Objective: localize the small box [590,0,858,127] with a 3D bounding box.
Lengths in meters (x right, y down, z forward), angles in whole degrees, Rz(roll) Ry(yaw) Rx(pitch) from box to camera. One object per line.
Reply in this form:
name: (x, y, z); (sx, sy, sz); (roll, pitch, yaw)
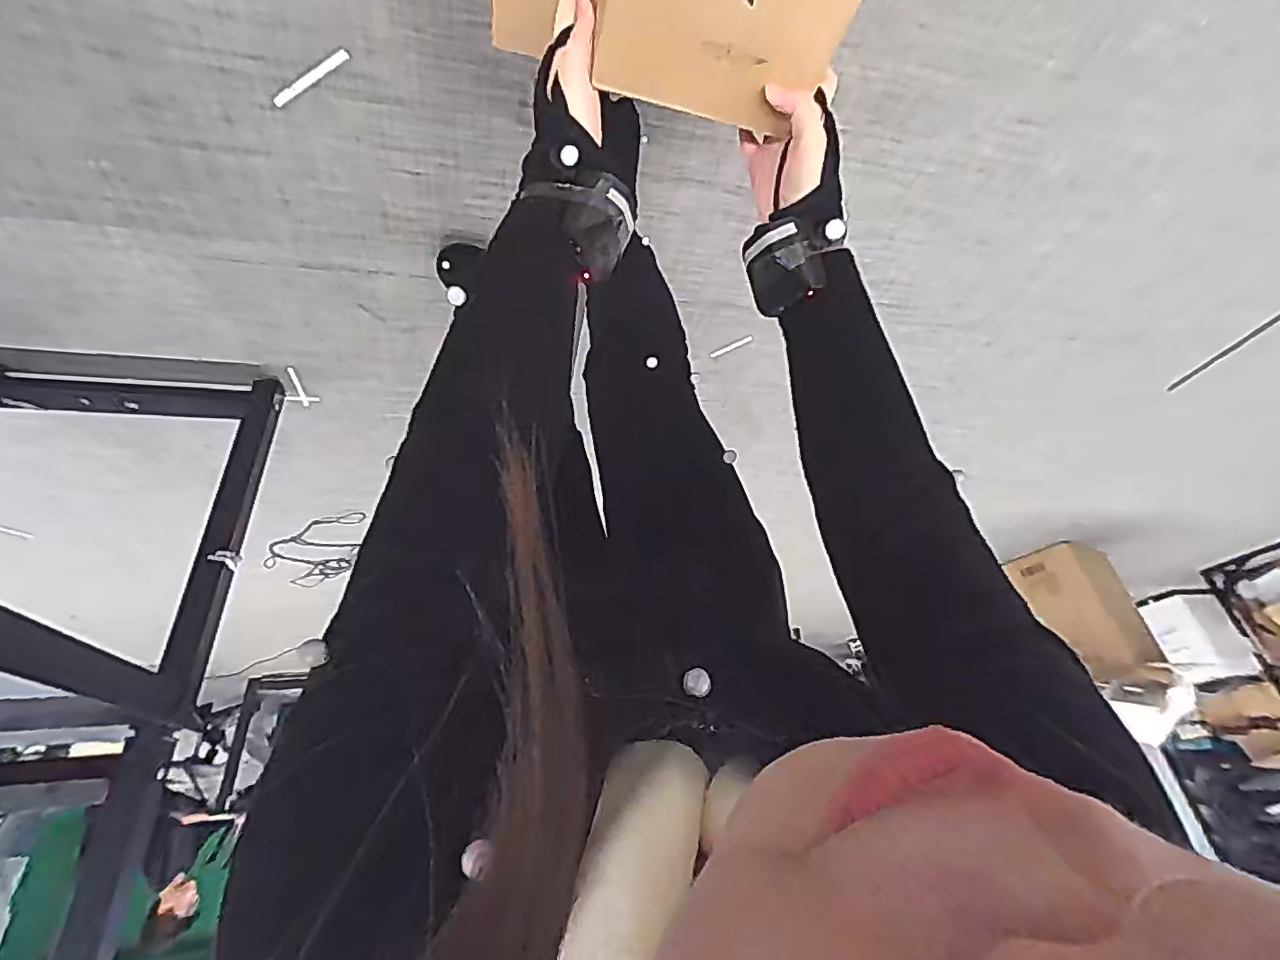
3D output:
small box: (0.059, -0.394, 0.370); (0.168, 0.176, 0.179); (4, 148, -18)
